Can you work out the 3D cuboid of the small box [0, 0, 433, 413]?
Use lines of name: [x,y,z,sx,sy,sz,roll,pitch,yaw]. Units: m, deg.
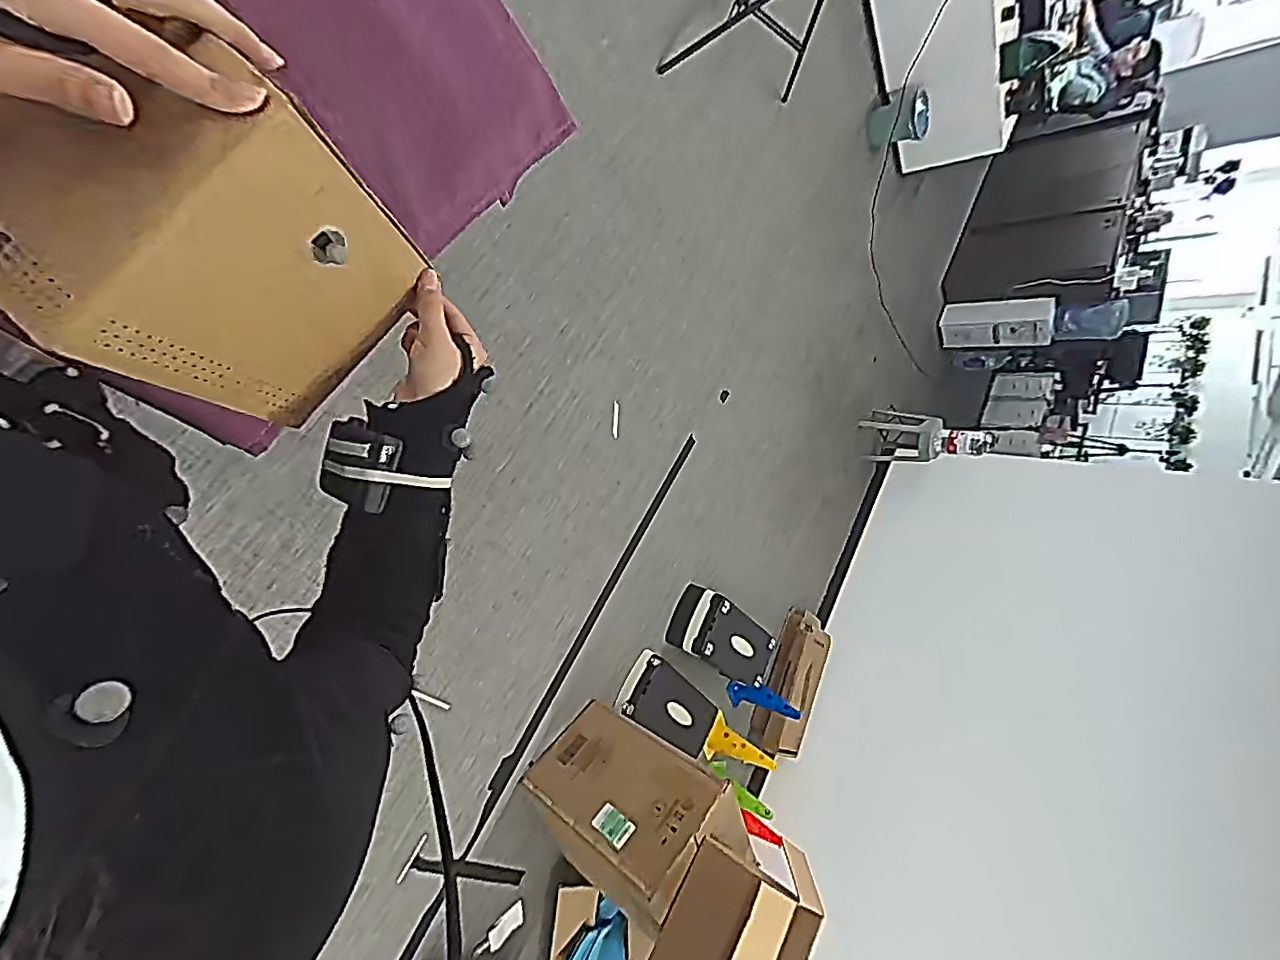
small box: [-0.281,-0.167,0.351,0.176,0.168,0.179,-48,174,-5]
